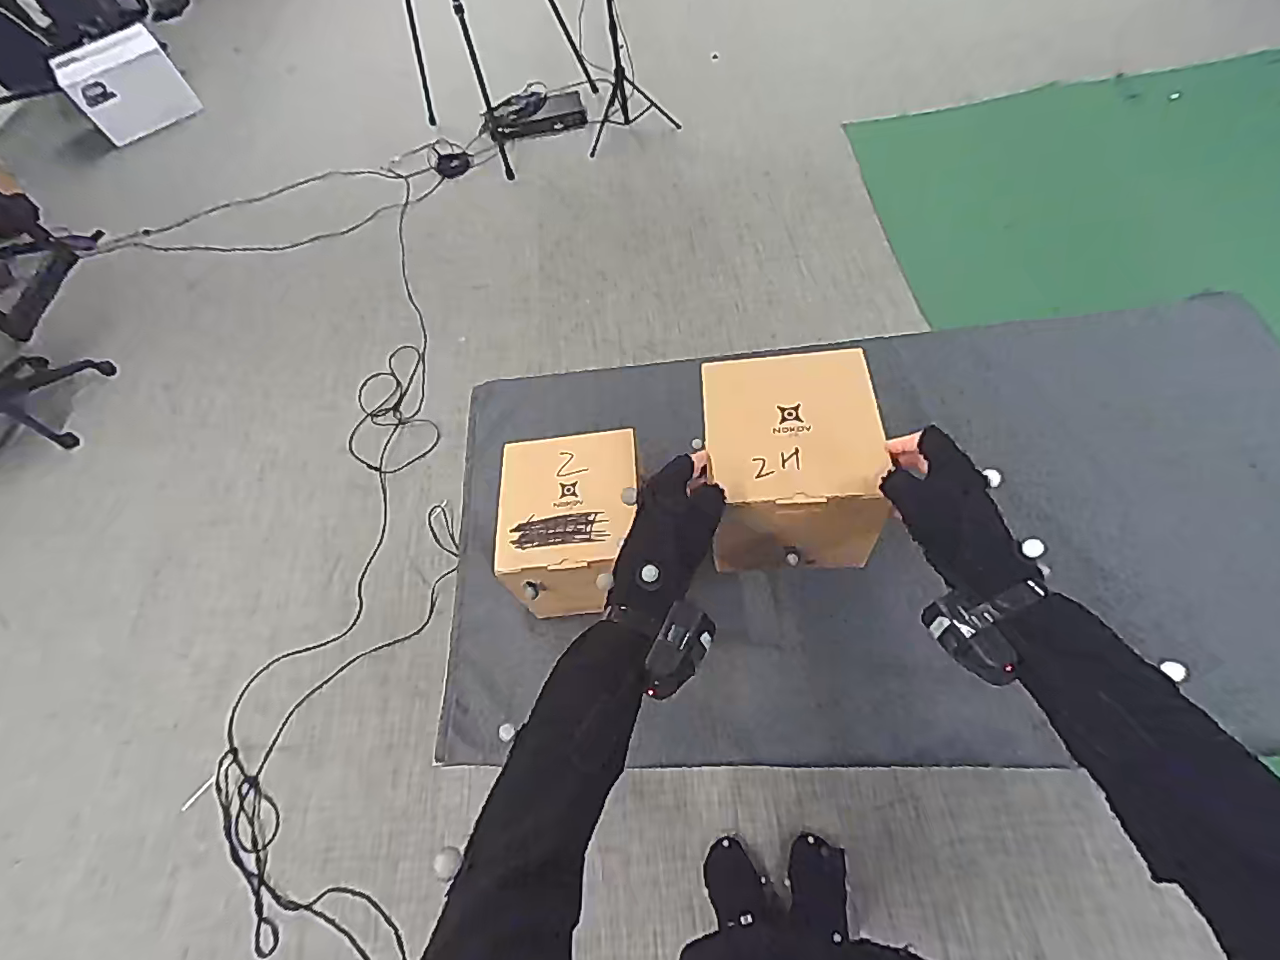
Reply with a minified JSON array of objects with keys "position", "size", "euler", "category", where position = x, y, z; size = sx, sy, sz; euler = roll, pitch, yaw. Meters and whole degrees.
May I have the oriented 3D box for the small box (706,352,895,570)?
[{"position":[0.159,-0.014,0.593],"size":[0.168,0.176,0.179],"euler":[-4,60,9],"category":"small box"}]
